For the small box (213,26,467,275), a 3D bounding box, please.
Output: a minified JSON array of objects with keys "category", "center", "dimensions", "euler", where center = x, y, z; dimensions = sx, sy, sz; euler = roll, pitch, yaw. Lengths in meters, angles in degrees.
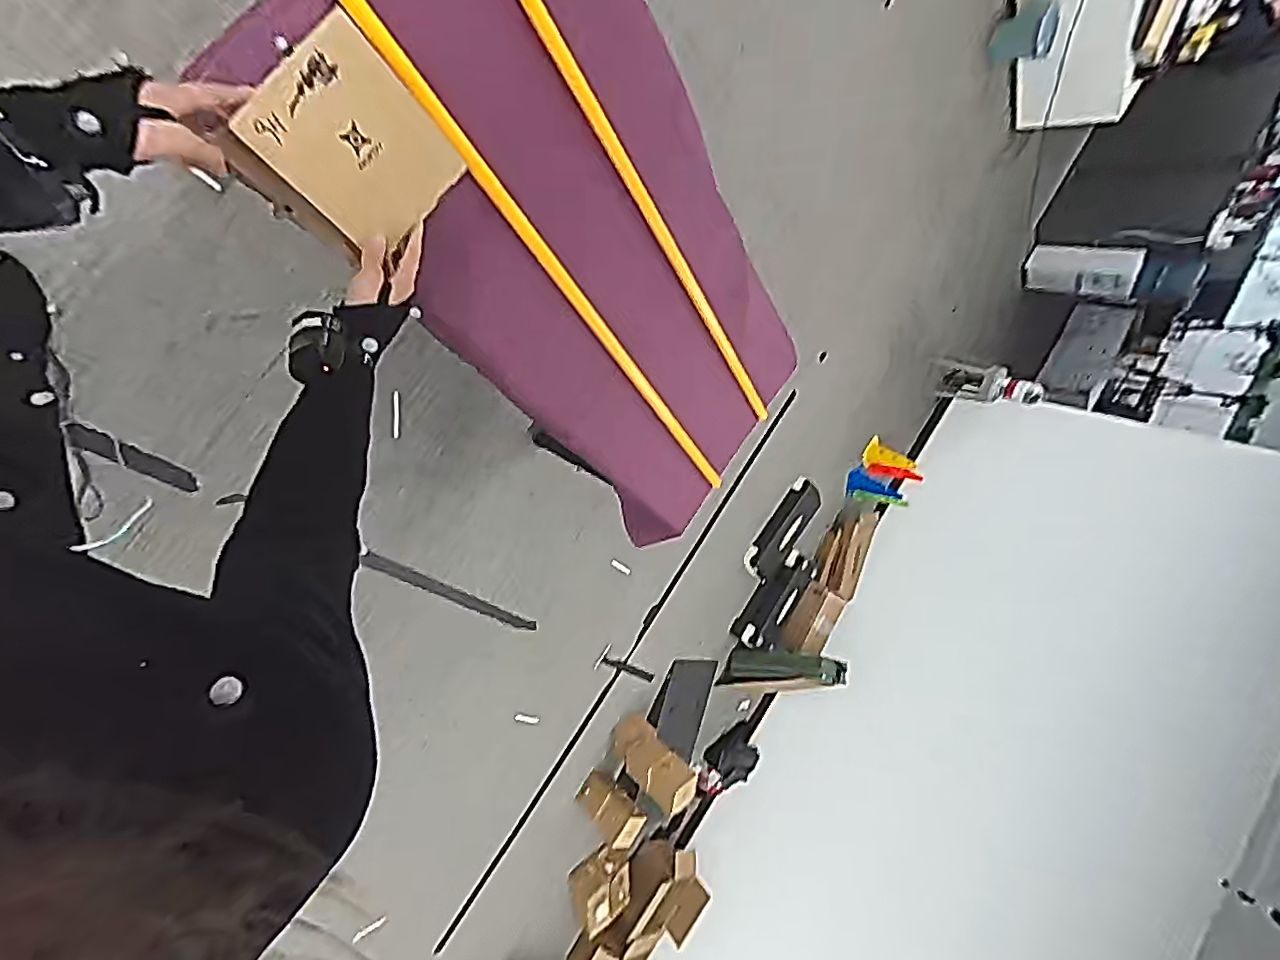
[{"category":"small box","center":[-0.349,-0.372,0.634],"dimensions":[0.168,0.176,0.179],"euler":[-55,138,-10]}]
